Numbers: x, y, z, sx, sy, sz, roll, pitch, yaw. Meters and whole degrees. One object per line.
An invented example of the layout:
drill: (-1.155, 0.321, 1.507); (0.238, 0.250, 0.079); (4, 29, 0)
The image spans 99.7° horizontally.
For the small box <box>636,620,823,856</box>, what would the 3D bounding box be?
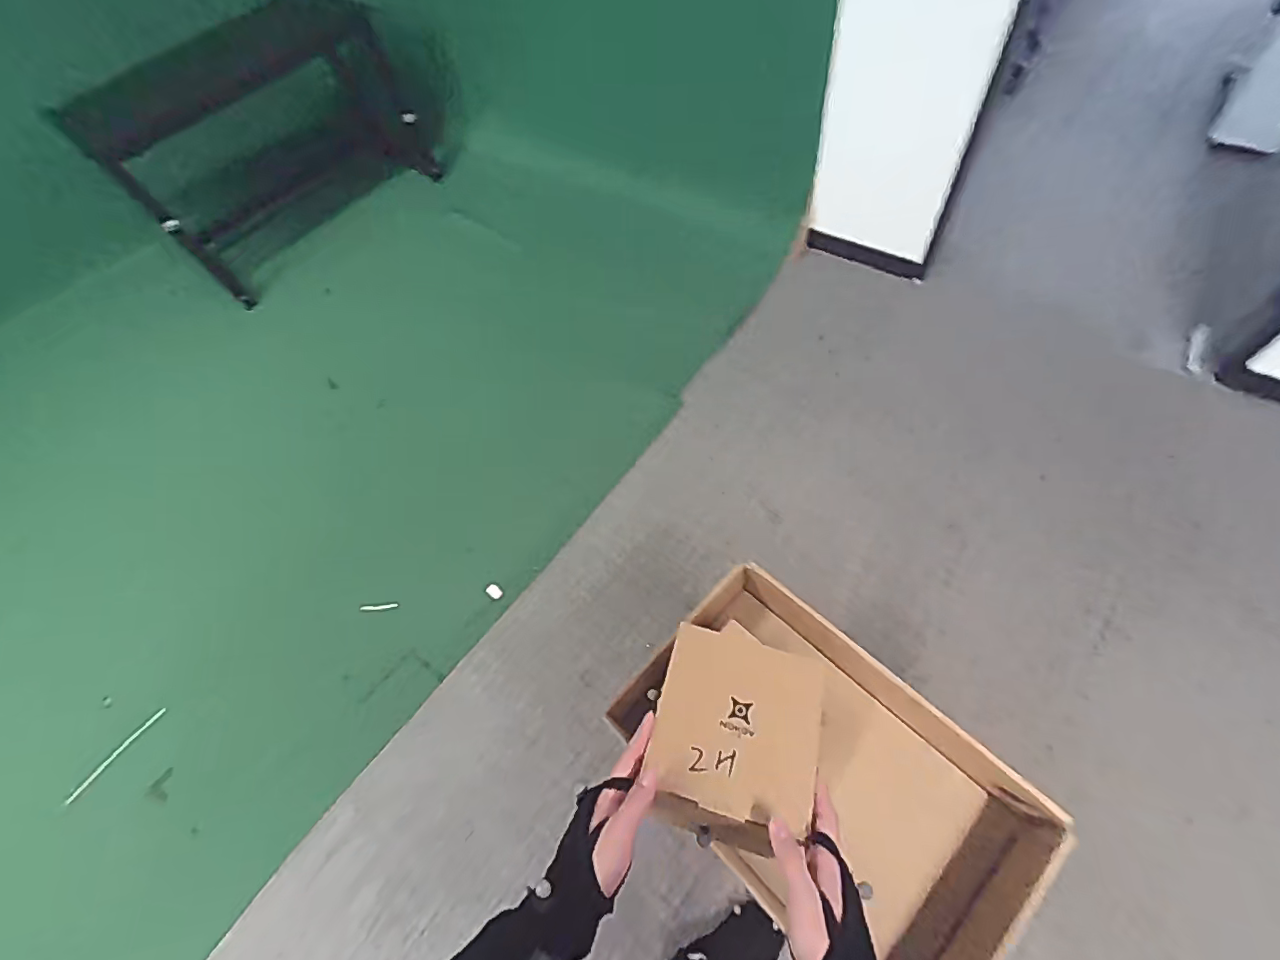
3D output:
small box: (0.094, 0.291, 0.606); (0.168, 0.176, 0.179); (14, 52, 9)
